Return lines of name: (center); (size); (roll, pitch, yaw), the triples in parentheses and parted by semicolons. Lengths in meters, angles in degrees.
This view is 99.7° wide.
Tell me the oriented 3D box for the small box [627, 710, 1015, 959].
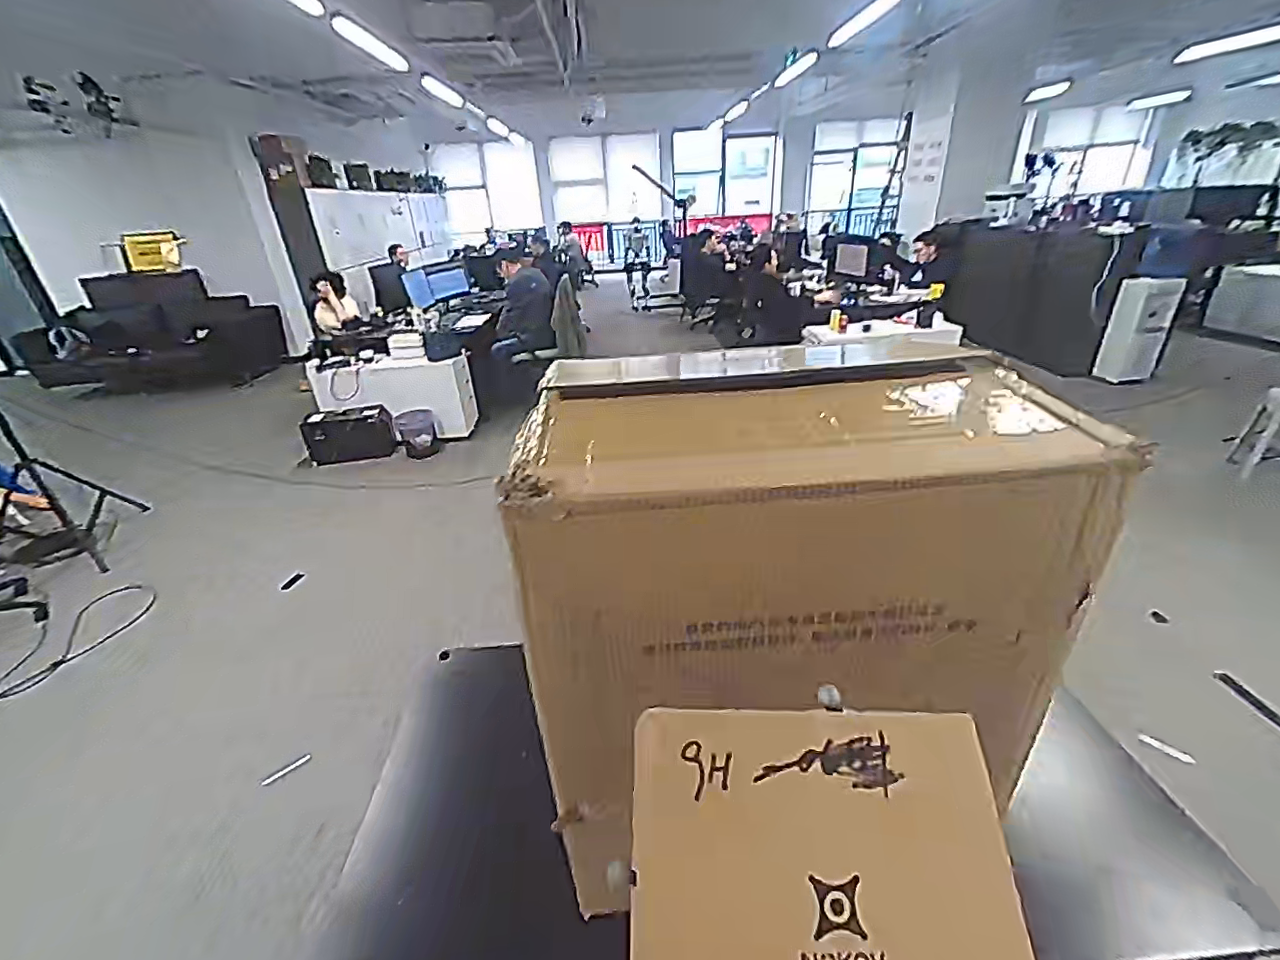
small box: (0.079, 0.235, 0.309); (0.168, 0.176, 0.179); (3, 62, -1)
